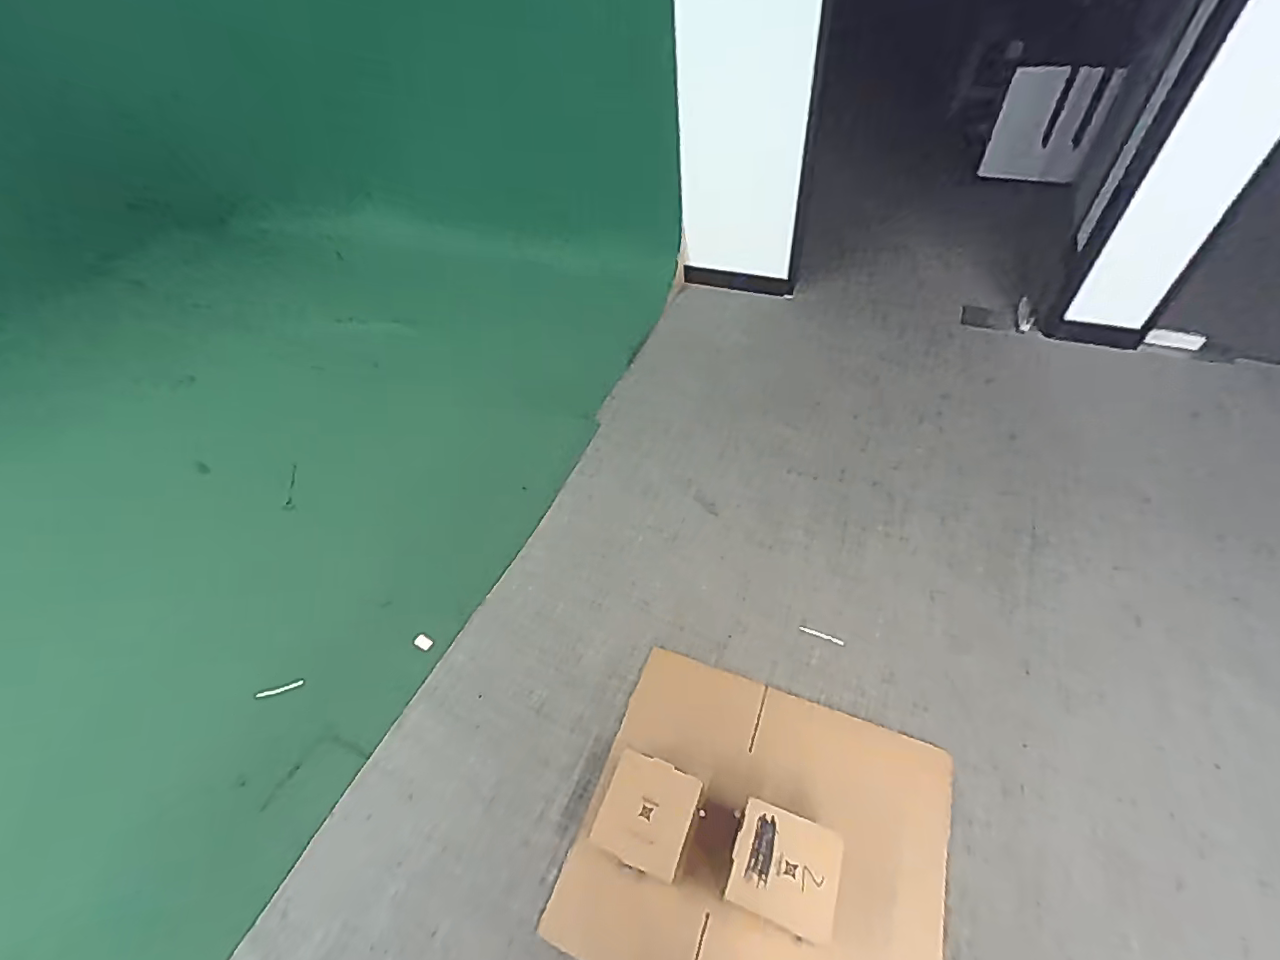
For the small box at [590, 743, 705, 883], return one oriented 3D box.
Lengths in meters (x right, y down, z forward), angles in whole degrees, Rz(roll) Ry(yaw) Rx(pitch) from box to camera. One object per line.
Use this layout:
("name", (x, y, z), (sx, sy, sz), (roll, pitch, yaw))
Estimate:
("small box", (0.022, 0.655, 1.063), (0.168, 0.176, 0.179), (15, 55, 19))
